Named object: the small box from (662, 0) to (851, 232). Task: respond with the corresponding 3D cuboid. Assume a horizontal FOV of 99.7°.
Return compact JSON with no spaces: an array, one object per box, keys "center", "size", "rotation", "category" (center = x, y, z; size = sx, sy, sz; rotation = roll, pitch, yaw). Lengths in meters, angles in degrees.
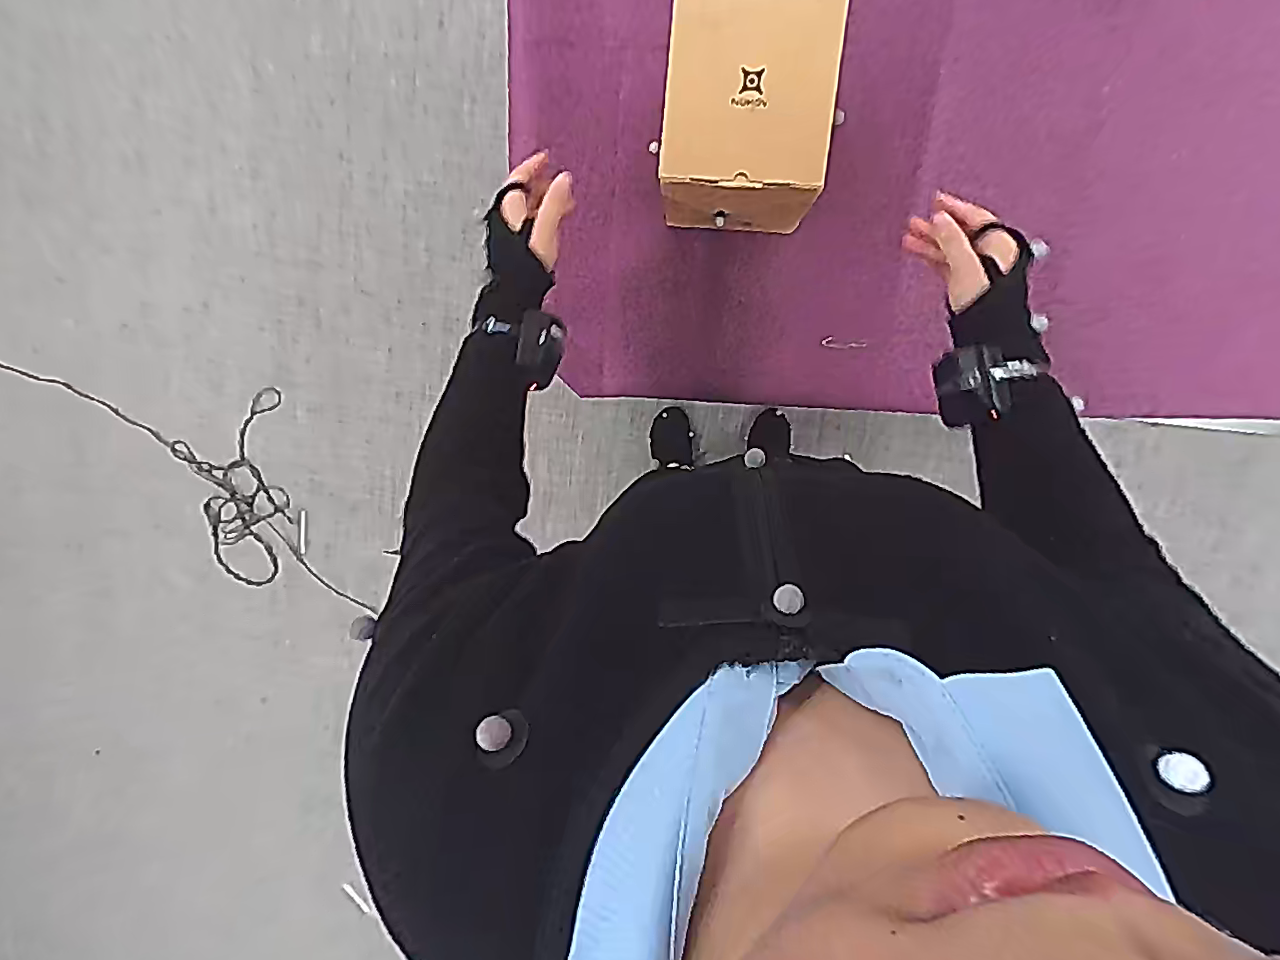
[{"center":[0.115,-0.395,0.600],"size":[0.168,0.176,0.179],"rotation":[5,102,4],"category":"small box"}]
